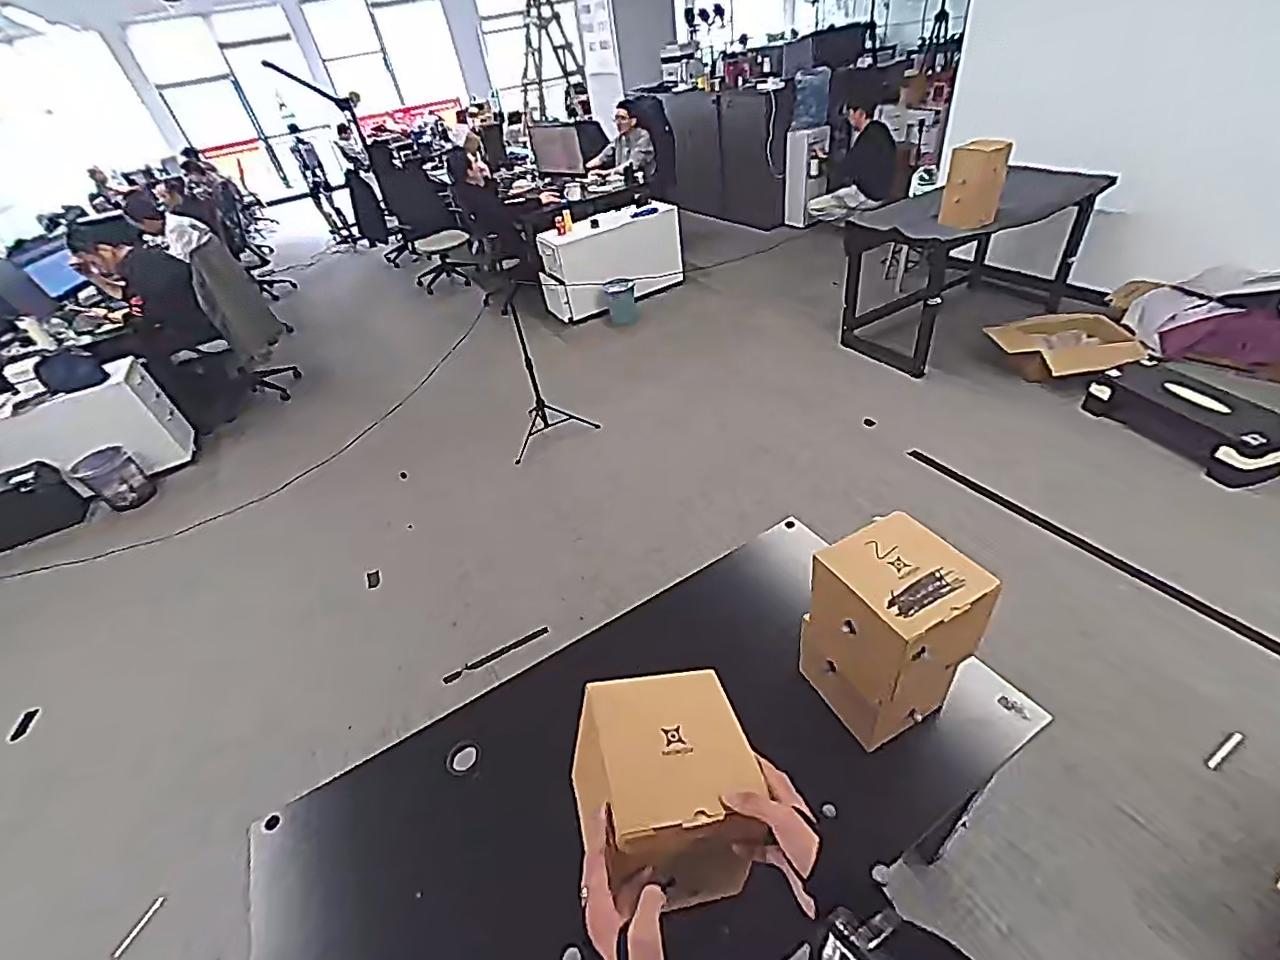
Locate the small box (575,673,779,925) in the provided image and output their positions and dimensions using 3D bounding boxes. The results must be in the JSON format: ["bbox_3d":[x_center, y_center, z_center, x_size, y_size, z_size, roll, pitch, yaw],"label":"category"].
[{"bbox_3d":[0.025,0.349,0.613,0.168,0.176,0.179,1,29,-18],"label":"small box"}]

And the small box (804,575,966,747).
[{"bbox_3d":[0.390,0.299,0.896,0.168,0.176,0.179,-23,41,-14],"label":"small box"}]
